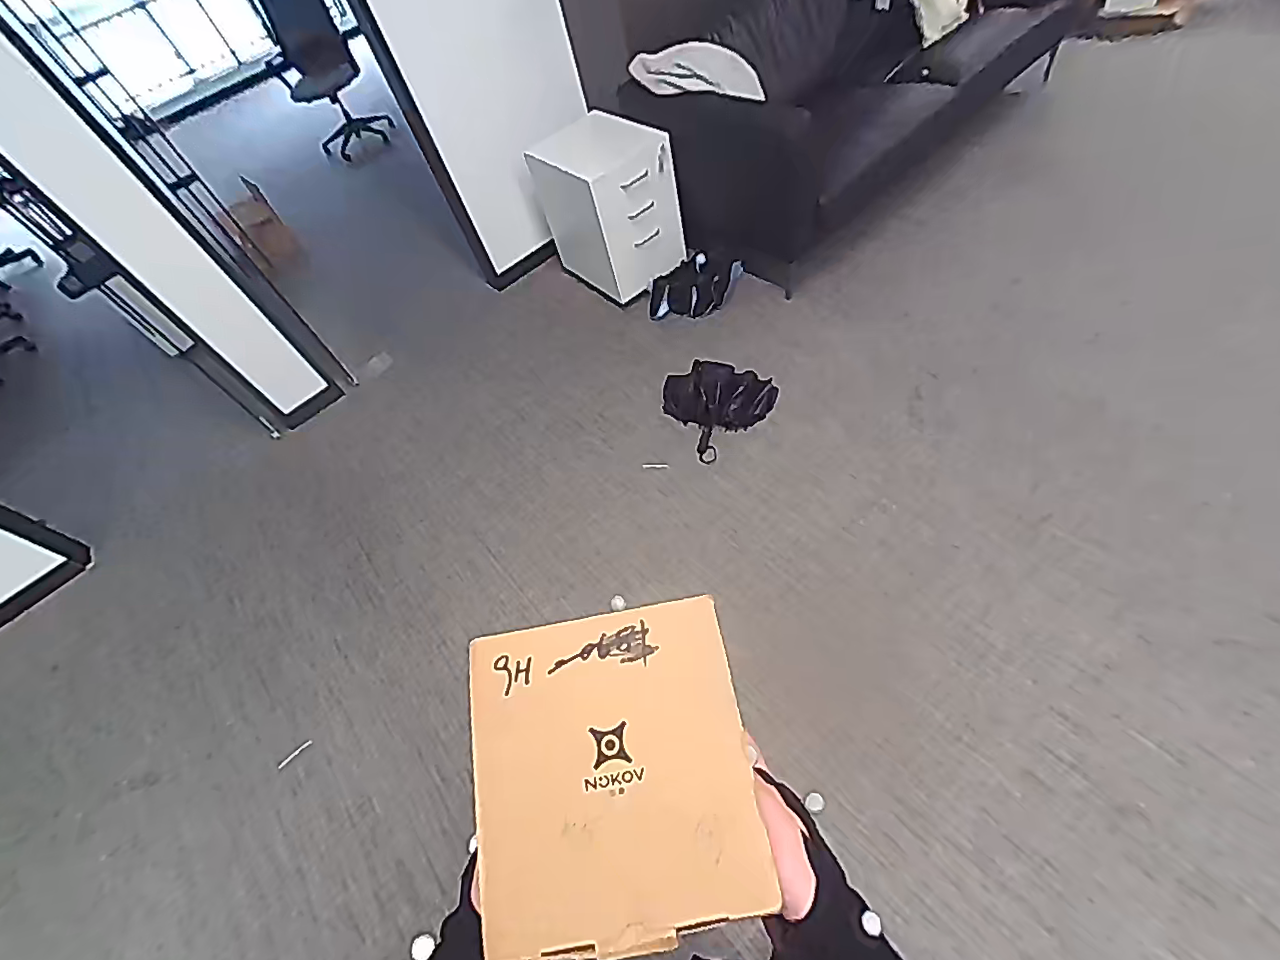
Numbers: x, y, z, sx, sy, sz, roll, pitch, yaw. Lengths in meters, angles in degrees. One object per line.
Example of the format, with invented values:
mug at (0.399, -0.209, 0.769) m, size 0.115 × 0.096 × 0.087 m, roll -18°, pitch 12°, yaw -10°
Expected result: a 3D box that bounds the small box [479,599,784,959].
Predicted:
small box at (-0.008, 0.201, 0.399) m, size 0.168 × 0.176 × 0.179 m, roll -10°, pitch 67°, yaw -2°
